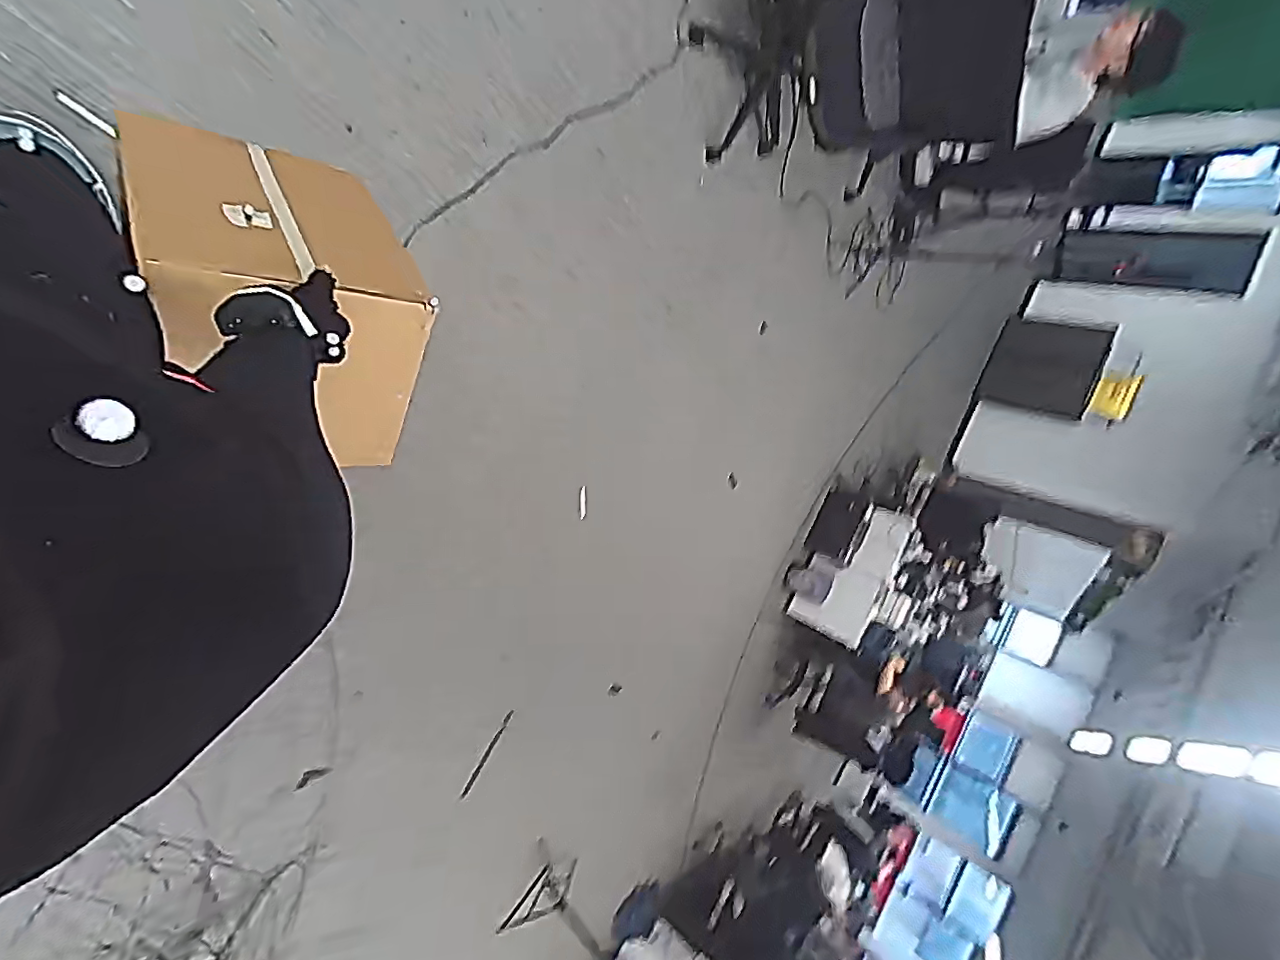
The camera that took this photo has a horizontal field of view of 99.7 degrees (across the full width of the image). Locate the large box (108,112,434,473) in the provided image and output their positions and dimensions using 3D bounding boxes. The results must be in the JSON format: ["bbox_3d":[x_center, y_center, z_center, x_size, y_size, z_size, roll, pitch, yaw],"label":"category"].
[{"bbox_3d":[-0.571,-0.266,0.830,0.320,0.408,0.320,-7,142,-43],"label":"large box"}]
